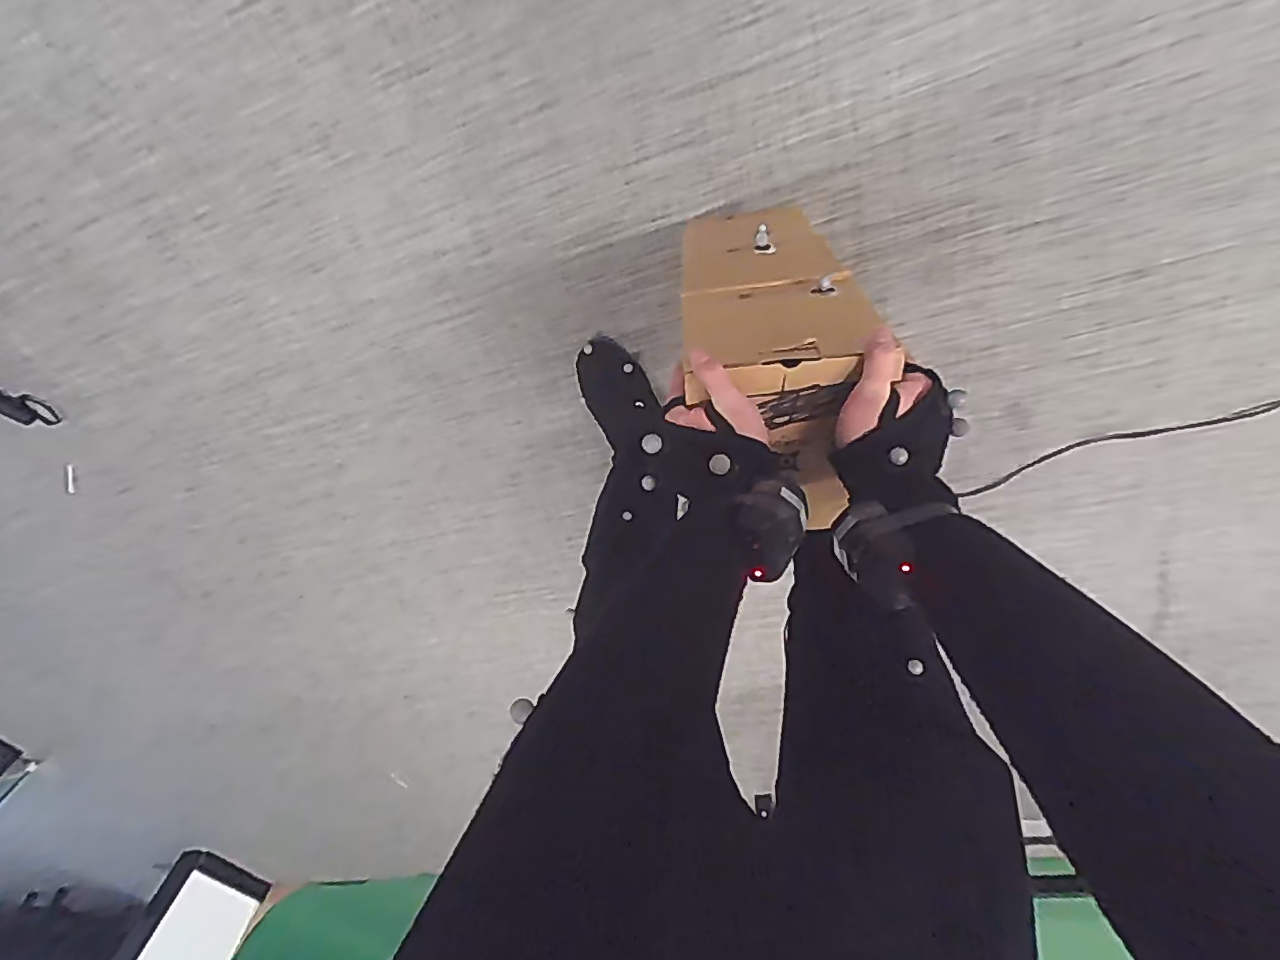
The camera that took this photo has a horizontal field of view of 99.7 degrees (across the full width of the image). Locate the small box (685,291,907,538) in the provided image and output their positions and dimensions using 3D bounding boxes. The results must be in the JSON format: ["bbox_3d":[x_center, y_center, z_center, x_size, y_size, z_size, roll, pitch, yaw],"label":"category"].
[{"bbox_3d":[0.131,-0.068,0.515,0.168,0.176,0.179,-4,128,8],"label":"small box"}]

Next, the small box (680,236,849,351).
[{"bbox_3d":[0.140,-0.169,0.641,0.168,0.176,0.179,-5,125,9],"label":"small box"}]

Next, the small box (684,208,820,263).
[{"bbox_3d":[0.155,-0.265,0.769,0.168,0.176,0.179,-3,127,10],"label":"small box"}]
